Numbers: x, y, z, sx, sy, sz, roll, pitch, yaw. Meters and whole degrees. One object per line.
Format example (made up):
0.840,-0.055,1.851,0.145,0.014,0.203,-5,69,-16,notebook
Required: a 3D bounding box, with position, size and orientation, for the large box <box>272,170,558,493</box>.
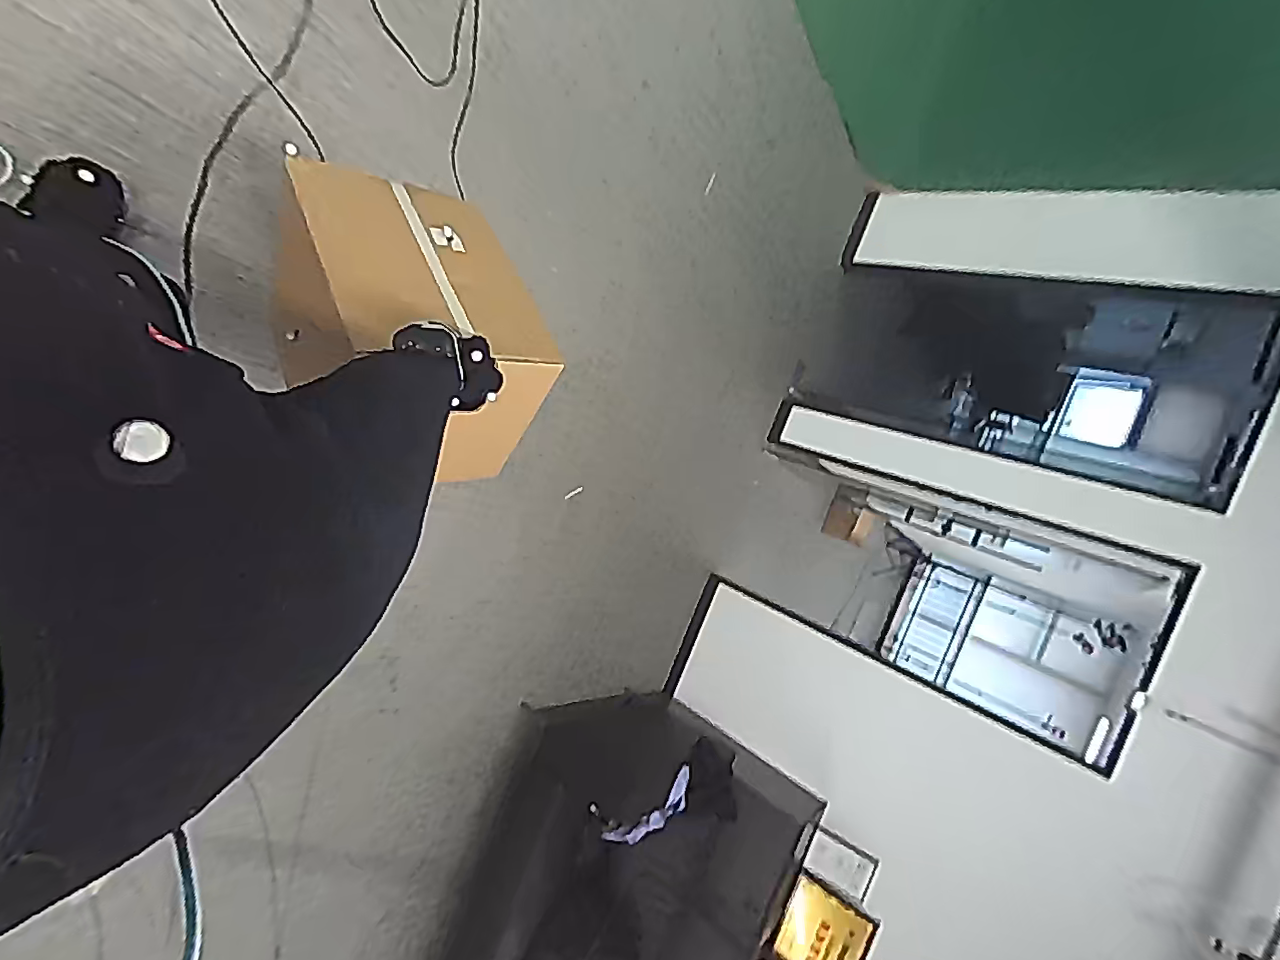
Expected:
-0.406,-0.236,0.935,0.320,0.408,0.320,-7,148,-44,large box
